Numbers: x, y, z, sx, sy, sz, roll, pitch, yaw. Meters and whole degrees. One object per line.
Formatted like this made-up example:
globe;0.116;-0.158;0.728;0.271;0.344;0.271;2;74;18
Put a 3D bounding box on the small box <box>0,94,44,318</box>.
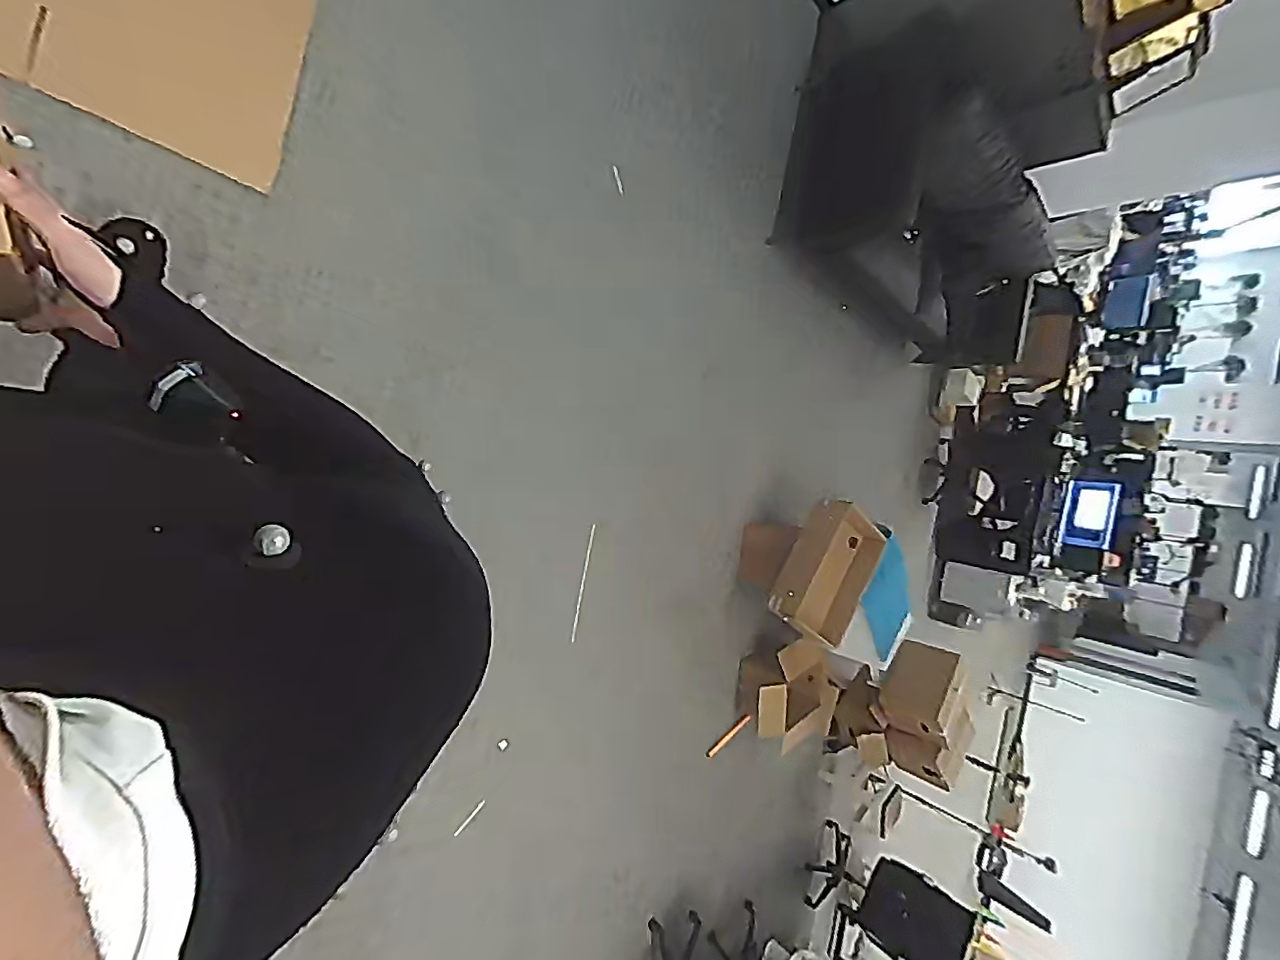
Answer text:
small box;-0.584;-0.237;0.399;0.168;0.176;0.179;-10;92;-41
